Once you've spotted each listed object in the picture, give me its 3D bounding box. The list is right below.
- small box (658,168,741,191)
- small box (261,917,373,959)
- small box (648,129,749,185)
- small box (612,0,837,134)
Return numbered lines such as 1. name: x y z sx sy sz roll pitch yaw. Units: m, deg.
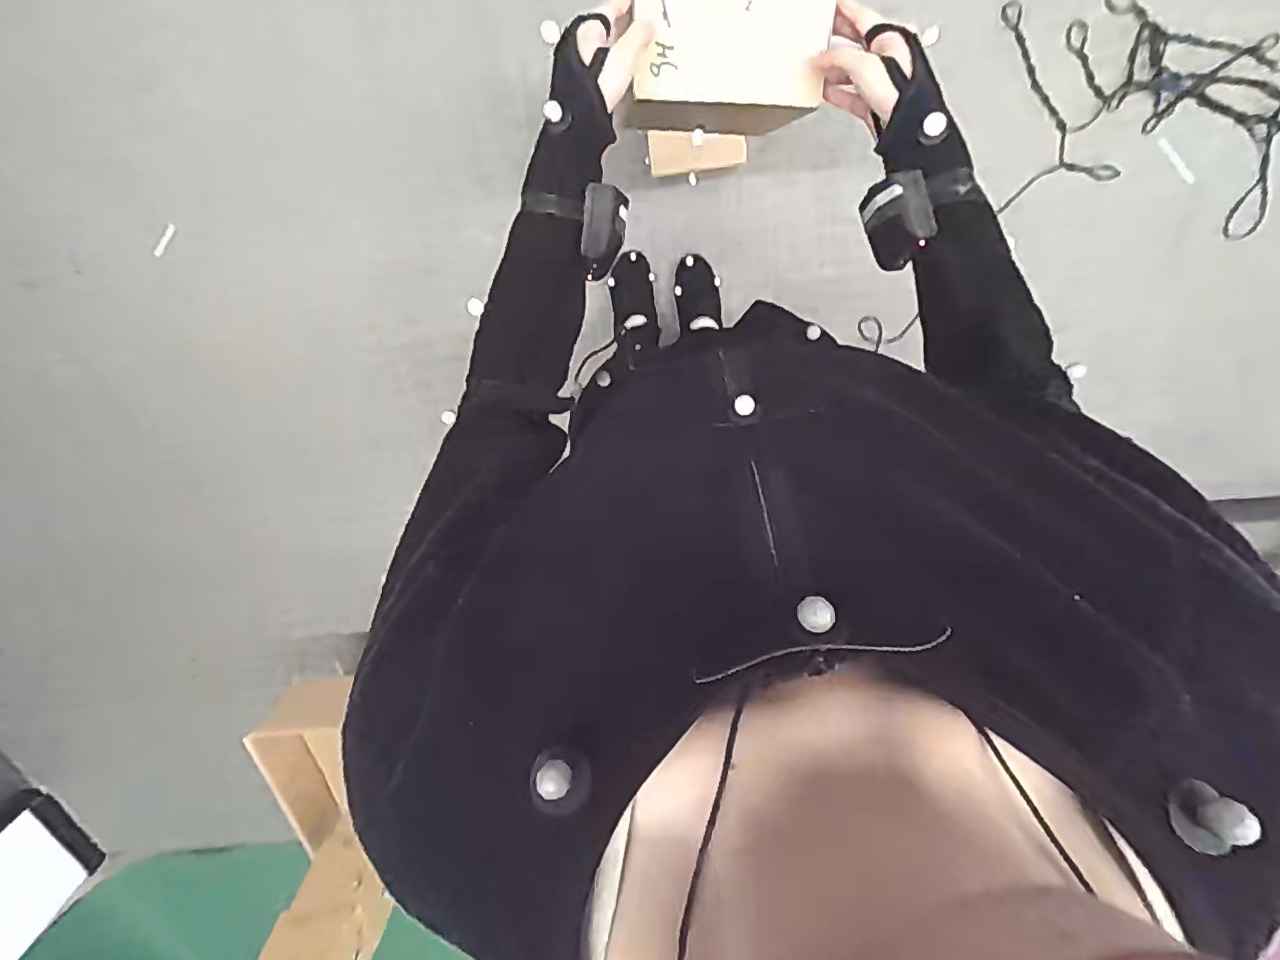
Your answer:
1. small box: 0.117 -0.729 1.163 0.179 0.176 0.168 -6 114 4
2. small box: -0.725 1.096 1.181 0.179 0.176 0.168 -6 114 3
3. small box: 0.103 -0.660 1.014 0.179 0.176 0.168 -6 115 4
4. small box: 0.069 -0.439 0.510 0.179 0.176 0.168 -2 113 -8
